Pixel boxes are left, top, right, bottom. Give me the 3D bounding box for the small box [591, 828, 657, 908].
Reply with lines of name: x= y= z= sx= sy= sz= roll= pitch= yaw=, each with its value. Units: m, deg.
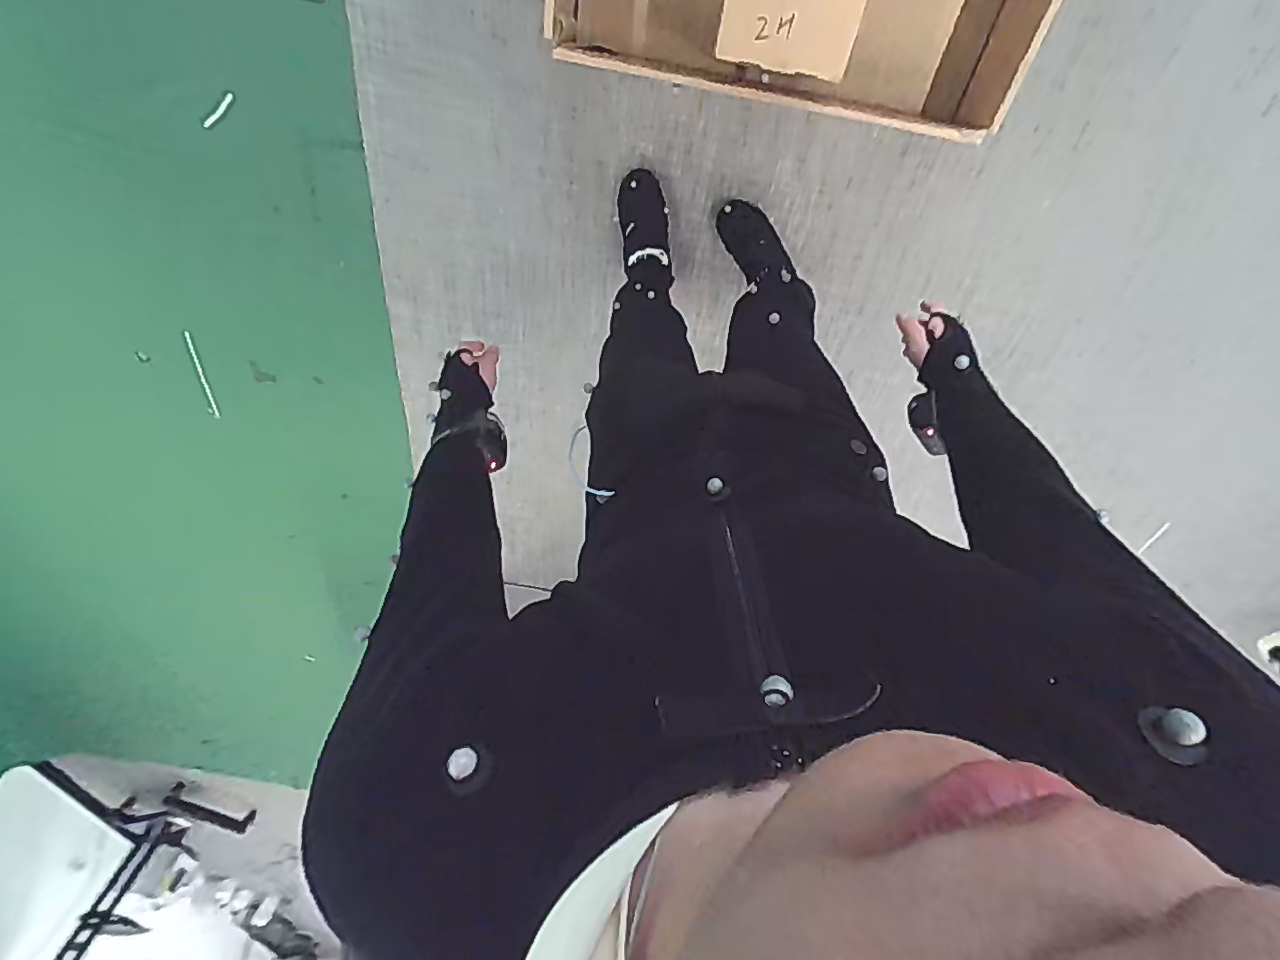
small box: x=-0.051 y=1.304 z=1.824 sx=0.179 sy=0.176 sz=0.168 roll=16 pitch=128 yaw=-5
